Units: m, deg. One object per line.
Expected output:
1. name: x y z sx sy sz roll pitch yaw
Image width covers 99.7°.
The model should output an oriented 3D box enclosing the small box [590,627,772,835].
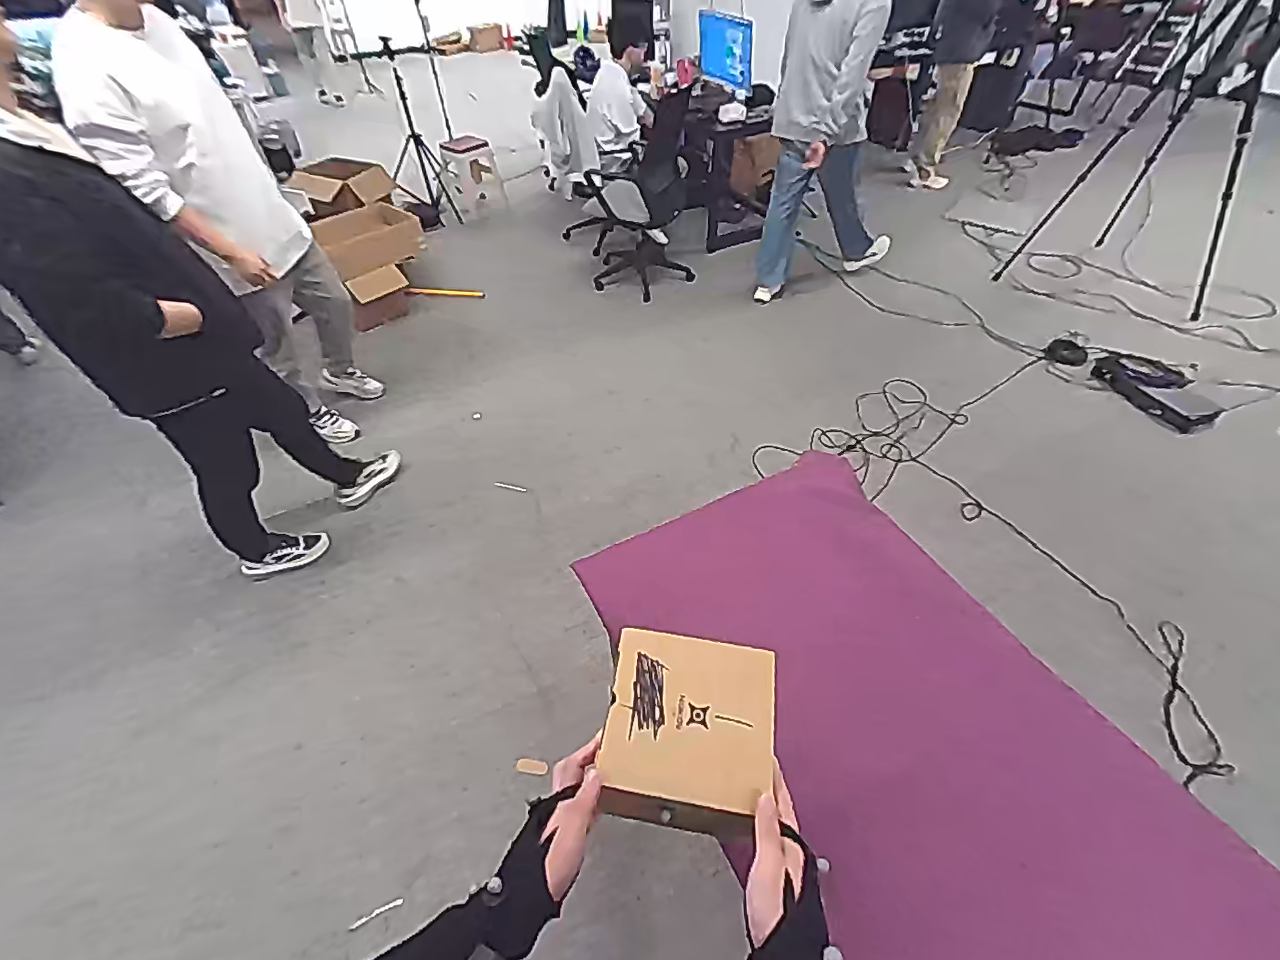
1. small box: 0.048 0.292 0.623 0.179 0.176 0.168 8 50 5
